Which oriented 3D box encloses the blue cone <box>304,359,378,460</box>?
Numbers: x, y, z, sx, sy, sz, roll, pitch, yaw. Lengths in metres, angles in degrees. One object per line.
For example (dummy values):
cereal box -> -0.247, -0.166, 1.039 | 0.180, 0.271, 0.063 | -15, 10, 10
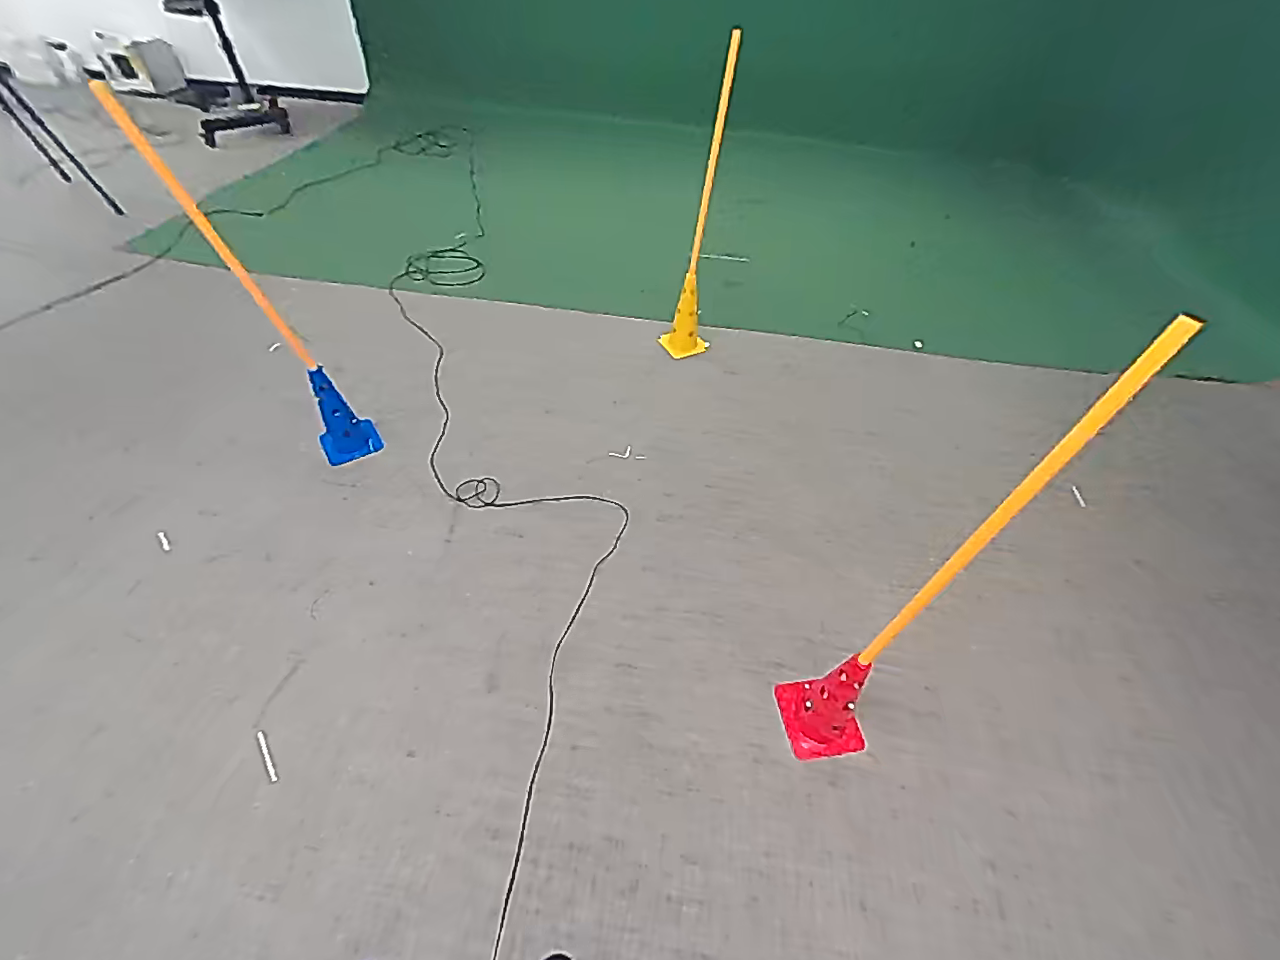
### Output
blue cone -> -1.110, -0.266, 1.943 | 0.193, 0.380, 0.192 | -28, 56, -24
